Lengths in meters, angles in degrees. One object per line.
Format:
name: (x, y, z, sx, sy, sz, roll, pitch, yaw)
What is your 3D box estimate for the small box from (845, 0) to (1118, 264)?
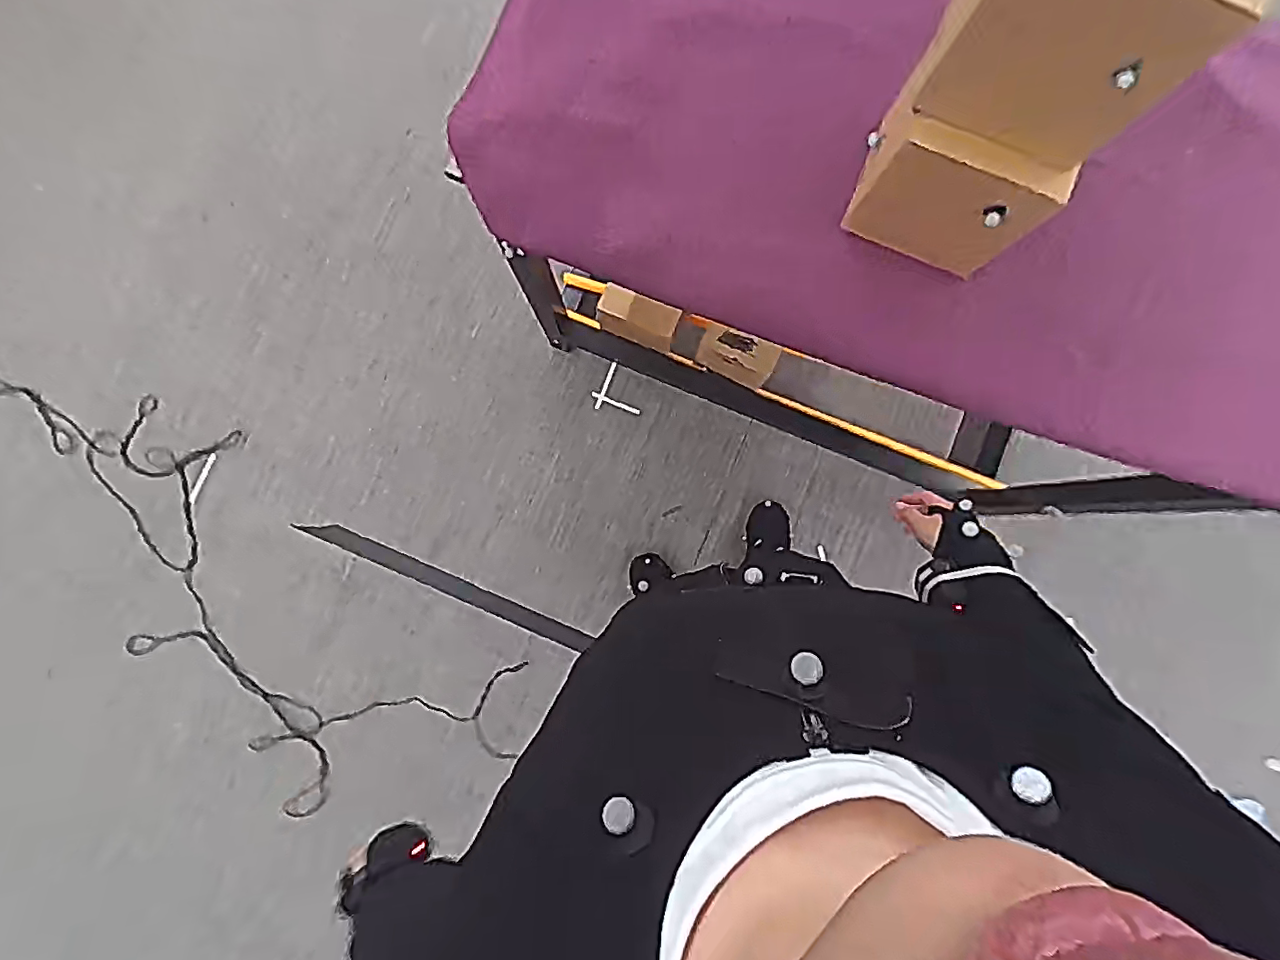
small box: (0.369, -0.377, 0.617, 0.179, 0.176, 0.168, 22, 85, 1)

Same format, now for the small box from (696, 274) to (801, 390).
small box: (0.237, -0.326, 1.234, 0.168, 0.176, 0.179, 28, 87, 1)
